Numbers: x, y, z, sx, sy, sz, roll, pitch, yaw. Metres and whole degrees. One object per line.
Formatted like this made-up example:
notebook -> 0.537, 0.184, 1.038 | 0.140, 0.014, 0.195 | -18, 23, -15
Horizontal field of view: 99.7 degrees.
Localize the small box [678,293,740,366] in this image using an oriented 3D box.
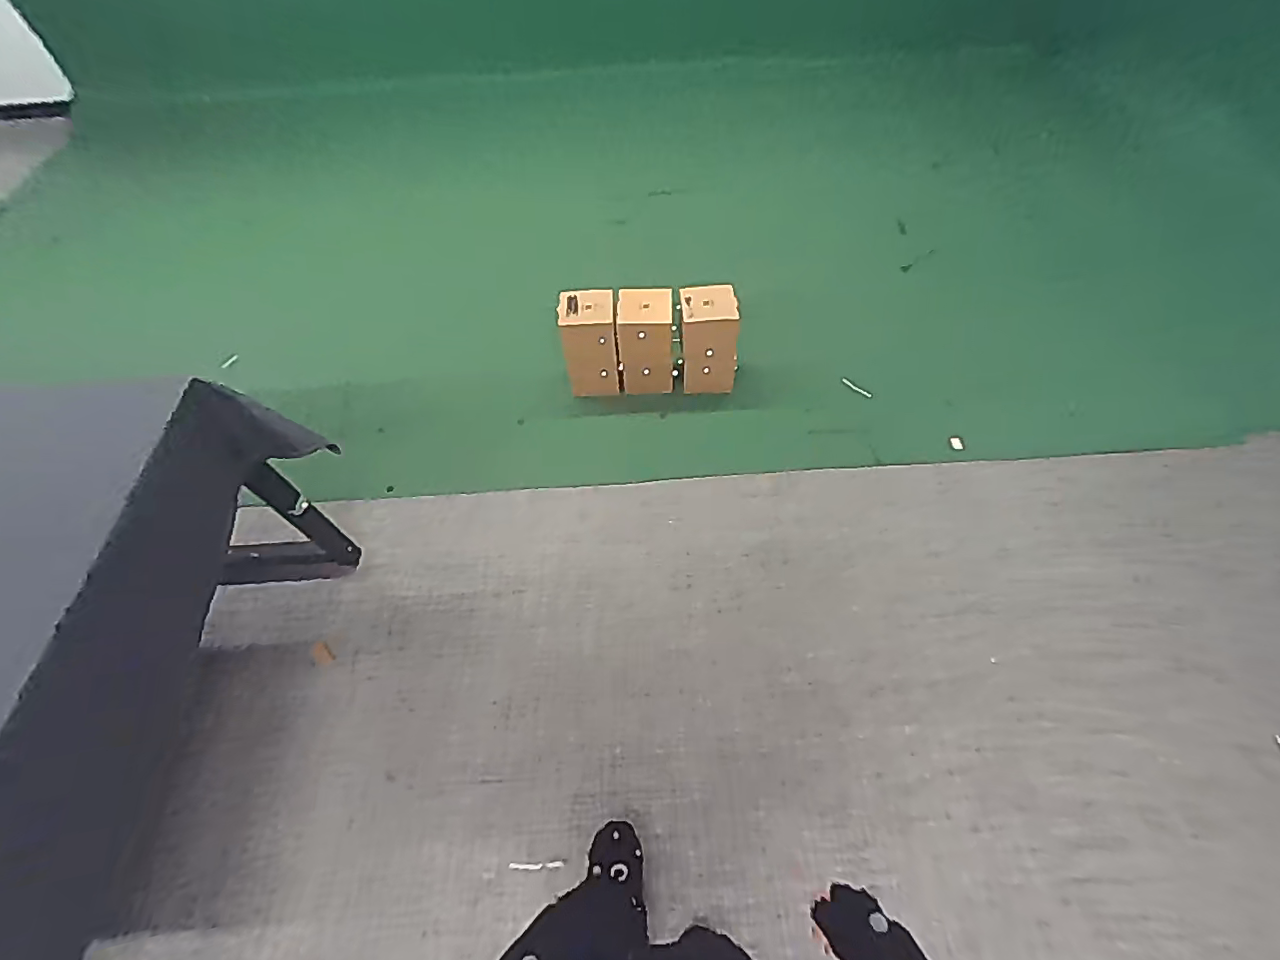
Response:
small box -> 0.223, -0.496, 1.788 | 0.179, 0.176, 0.168 | -3, 56, 0
